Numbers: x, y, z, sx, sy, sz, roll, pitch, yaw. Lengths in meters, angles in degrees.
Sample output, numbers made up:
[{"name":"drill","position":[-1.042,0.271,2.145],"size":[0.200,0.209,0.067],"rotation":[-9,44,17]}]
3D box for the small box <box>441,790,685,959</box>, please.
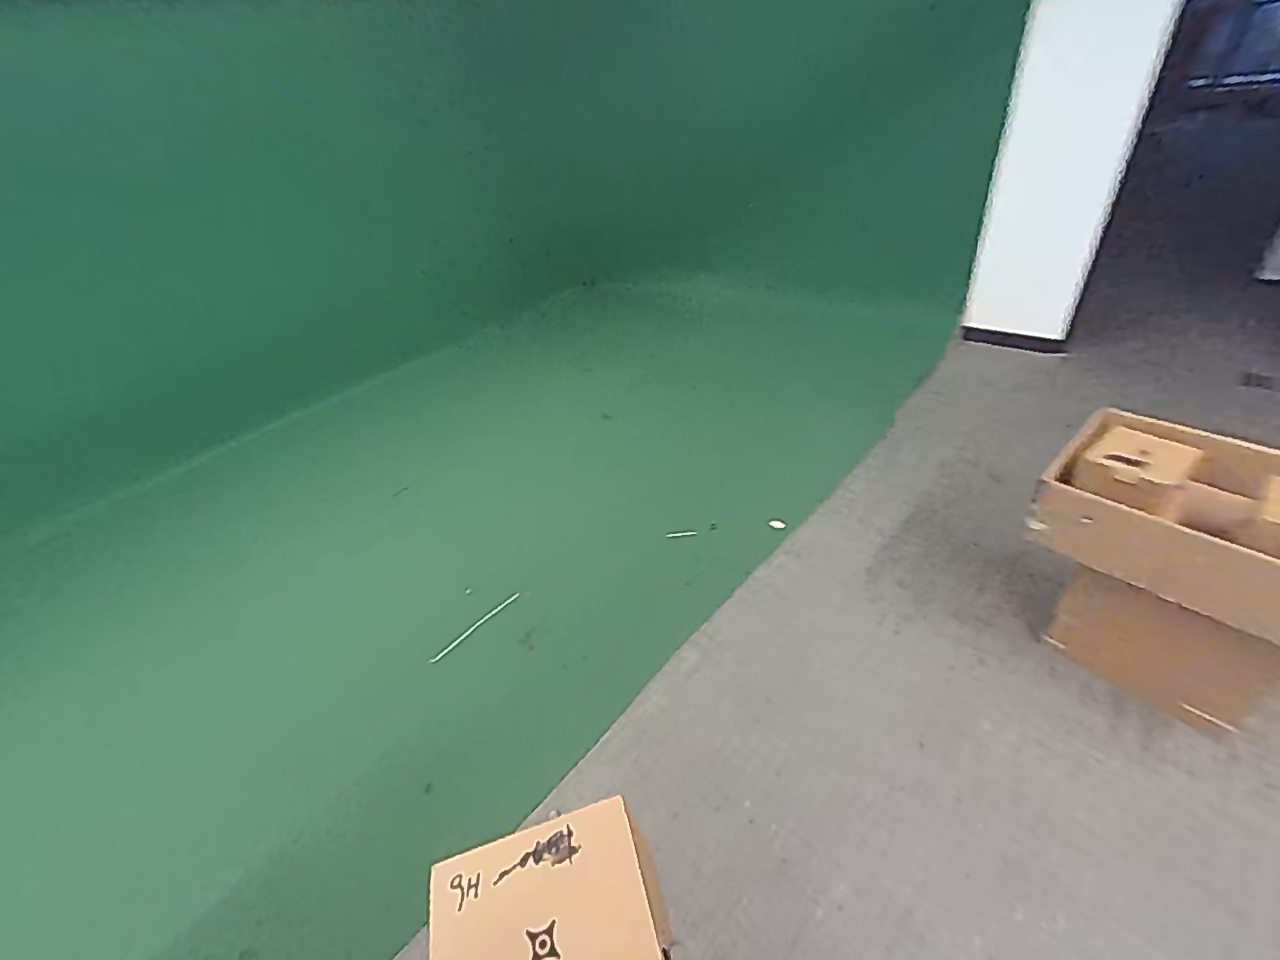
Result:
[{"name":"small box","position":[-0.051,0.396,0.445],"size":[0.168,0.176,0.179],"rotation":[-16,43,-6]}]
